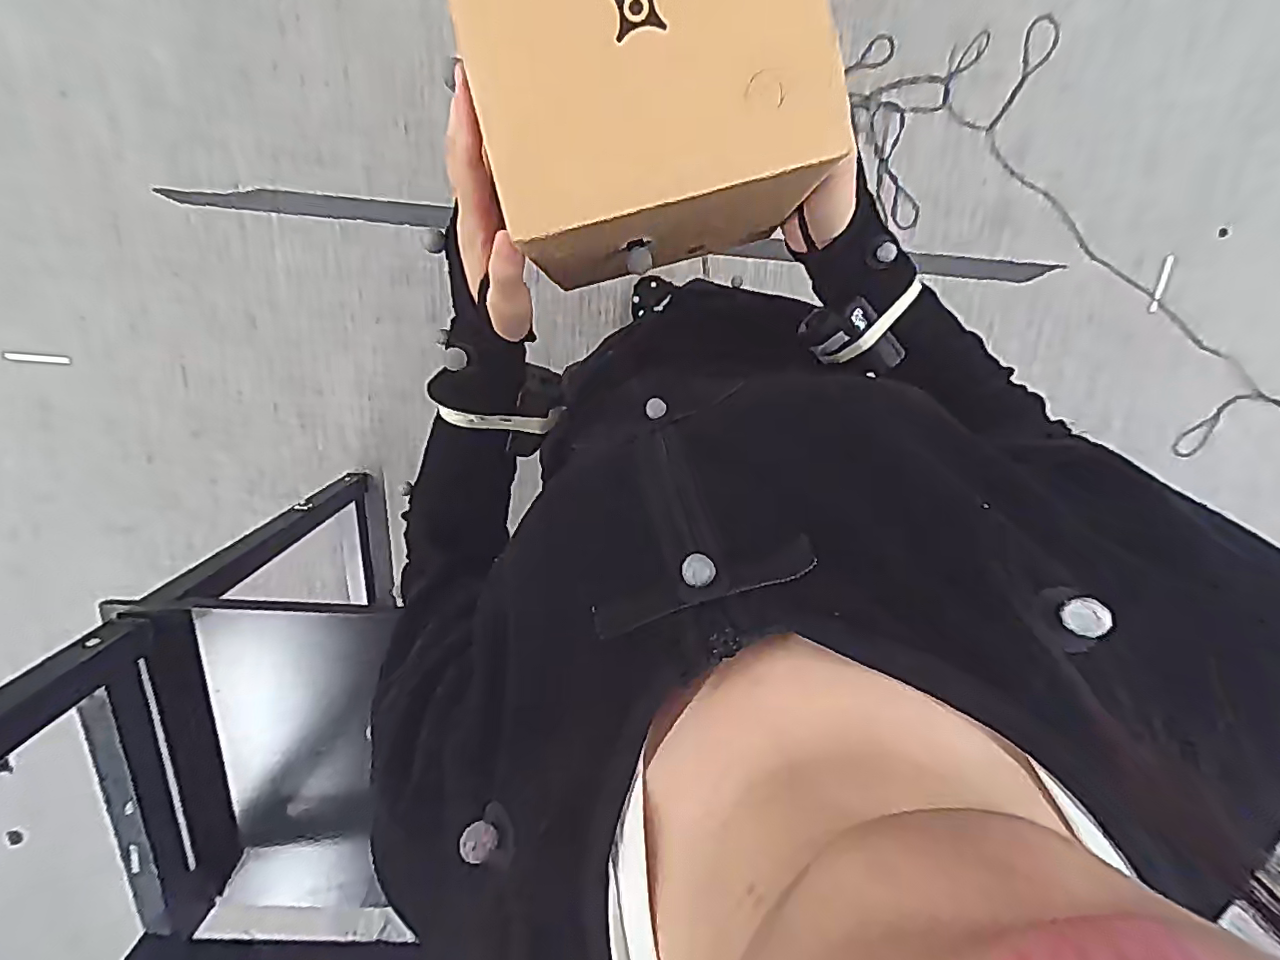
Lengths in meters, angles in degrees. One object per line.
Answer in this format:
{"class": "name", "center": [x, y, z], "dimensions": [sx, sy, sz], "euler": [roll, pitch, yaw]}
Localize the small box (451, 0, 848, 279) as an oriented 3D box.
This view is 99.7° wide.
{"class": "small box", "center": [0.001, -0.230, 0.317], "dimensions": [0.168, 0.176, 0.179], "euler": [-13, 99, 3]}
